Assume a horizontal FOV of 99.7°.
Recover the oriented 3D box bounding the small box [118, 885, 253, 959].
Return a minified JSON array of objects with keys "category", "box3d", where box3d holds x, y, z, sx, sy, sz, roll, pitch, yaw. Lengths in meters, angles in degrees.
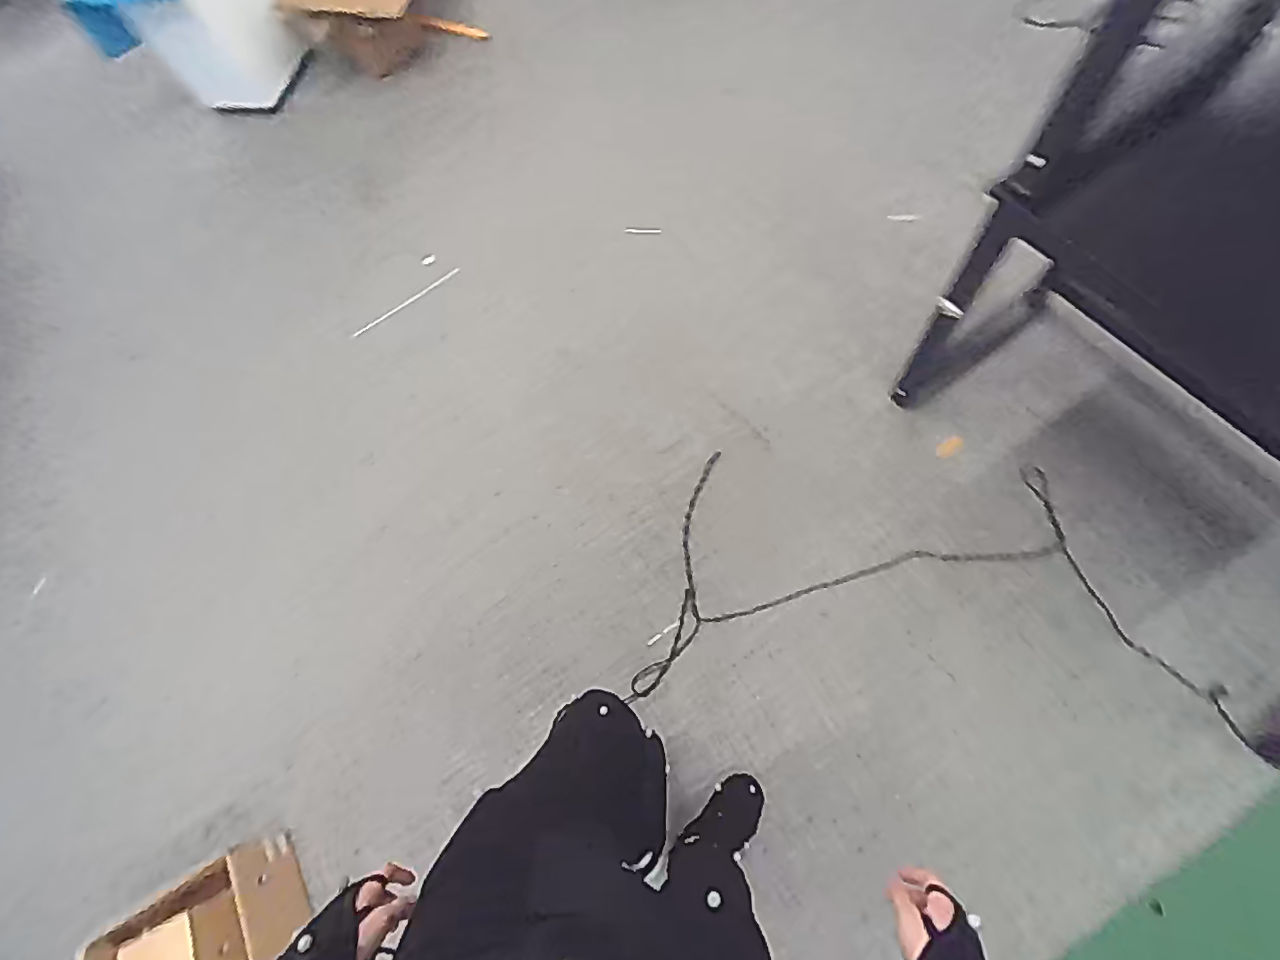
[{"category":"small box","box3d":[-1.040,1.090,1.253,0.179,0.176,0.168,-29,68,-2]}]
